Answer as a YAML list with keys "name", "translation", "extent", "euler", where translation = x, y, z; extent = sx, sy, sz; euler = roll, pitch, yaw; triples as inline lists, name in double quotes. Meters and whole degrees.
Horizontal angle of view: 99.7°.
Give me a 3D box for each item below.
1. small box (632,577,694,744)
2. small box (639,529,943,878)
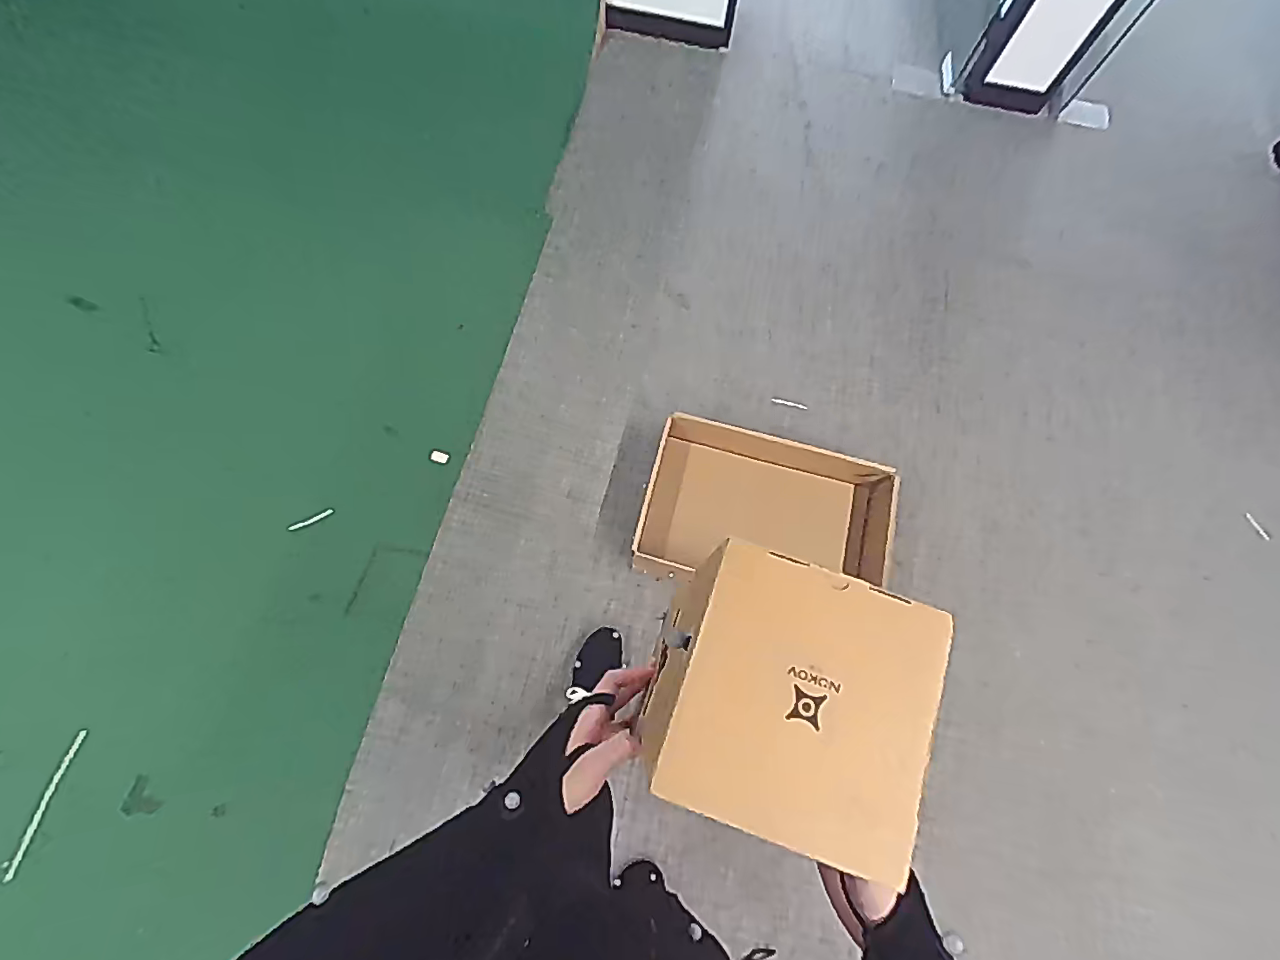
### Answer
- name: "small box"
  translation: [0.098, 0.222, 0.587]
  extent: [0.179, 0.176, 0.168]
  euler: [20, 73, 4]
- name: "small box"
  translation: [0.105, 0.164, 0.436]
  extent: [0.168, 0.176, 0.179]
  euler: [20, 72, 5]
